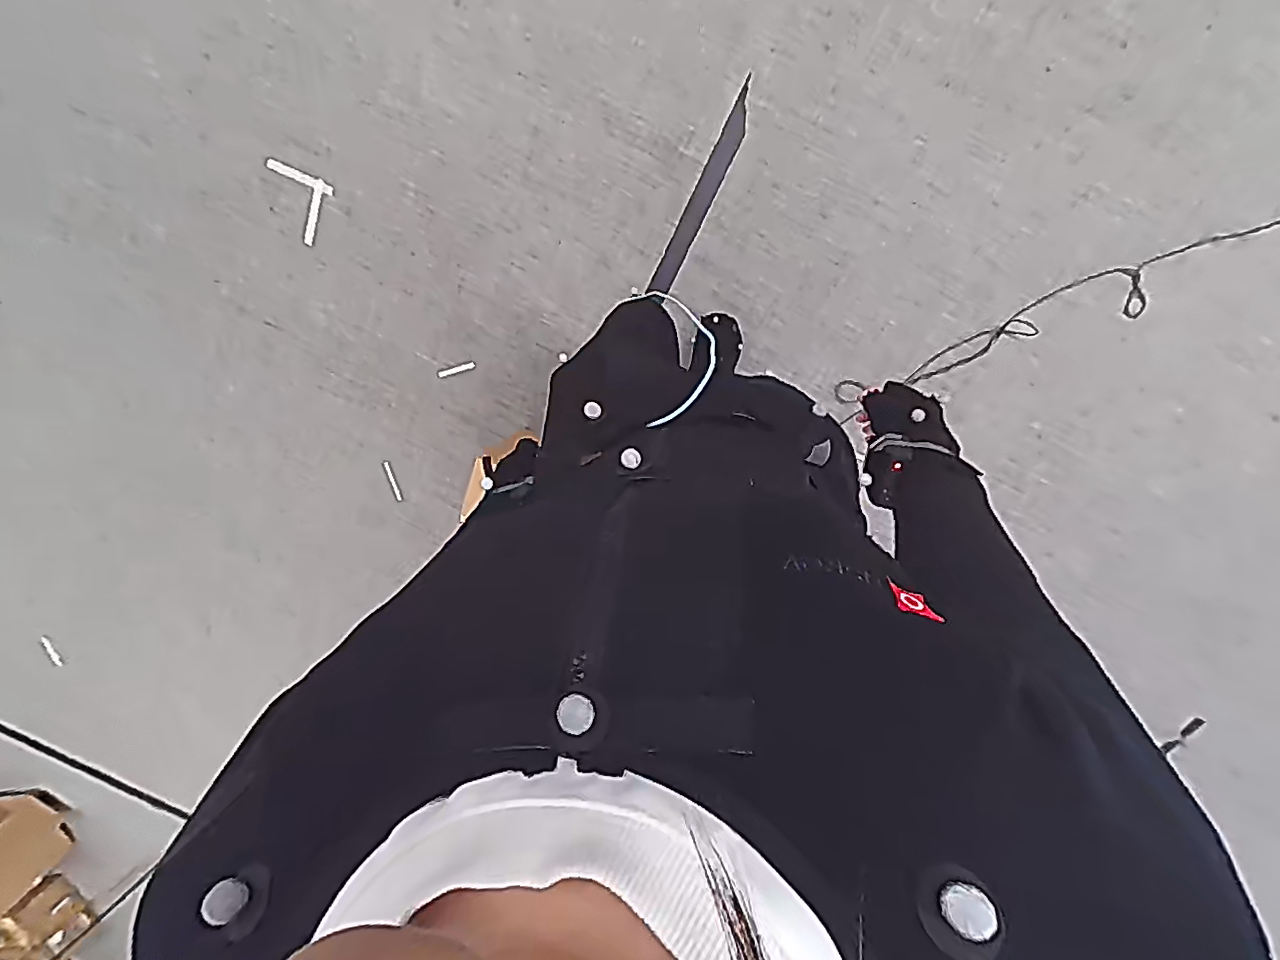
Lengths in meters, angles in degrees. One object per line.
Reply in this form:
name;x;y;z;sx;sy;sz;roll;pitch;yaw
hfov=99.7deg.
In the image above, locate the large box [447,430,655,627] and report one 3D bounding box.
large box;-0.209;0.106;1.382;0.408;0.320;0.320;22;108;1
